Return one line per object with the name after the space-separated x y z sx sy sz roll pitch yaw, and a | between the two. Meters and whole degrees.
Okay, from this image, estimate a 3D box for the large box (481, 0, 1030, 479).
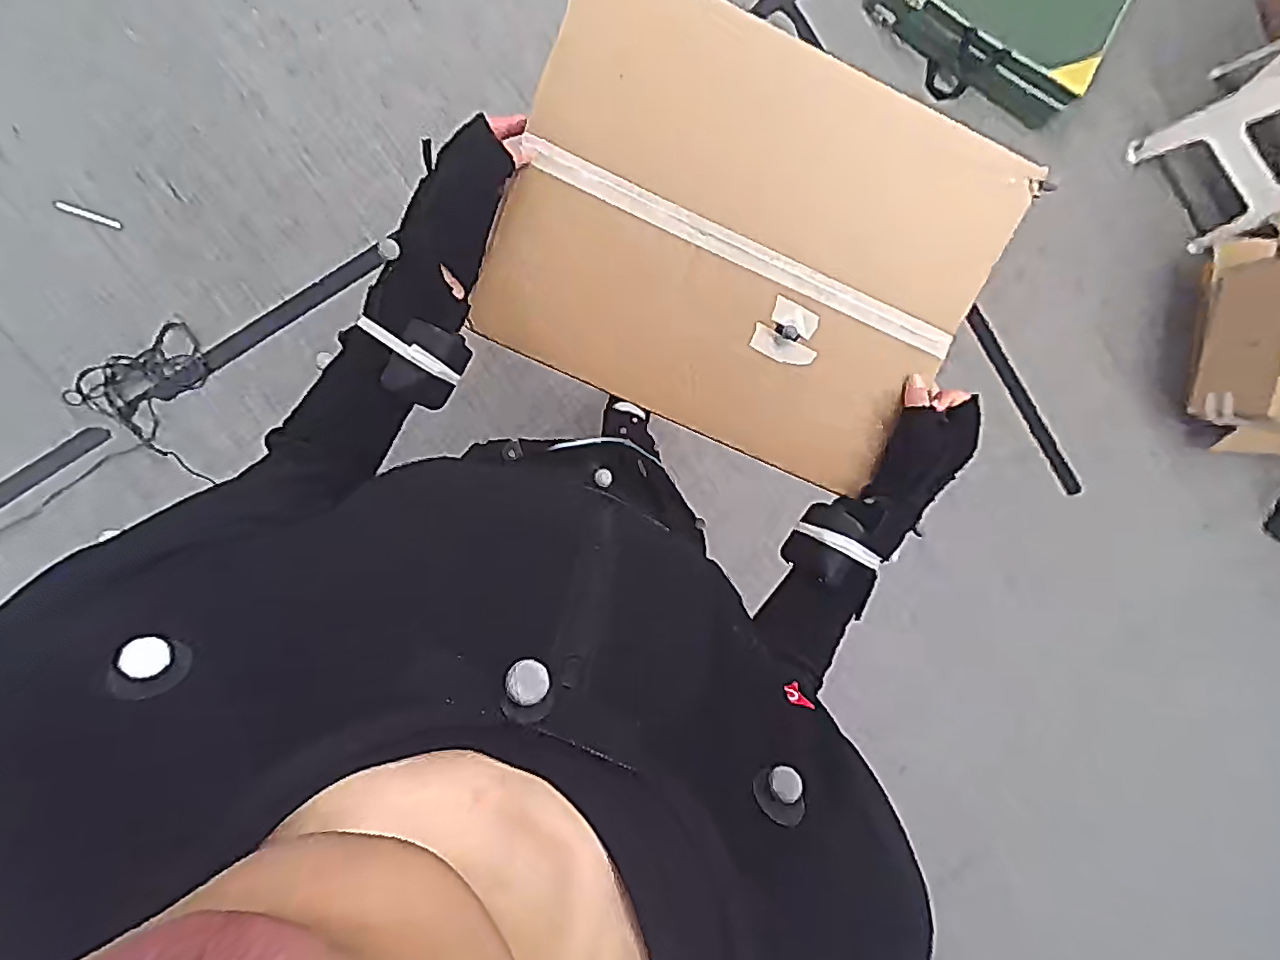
0.091 -0.246 0.618 0.408 0.320 0.320 23 104 -6 | large box
